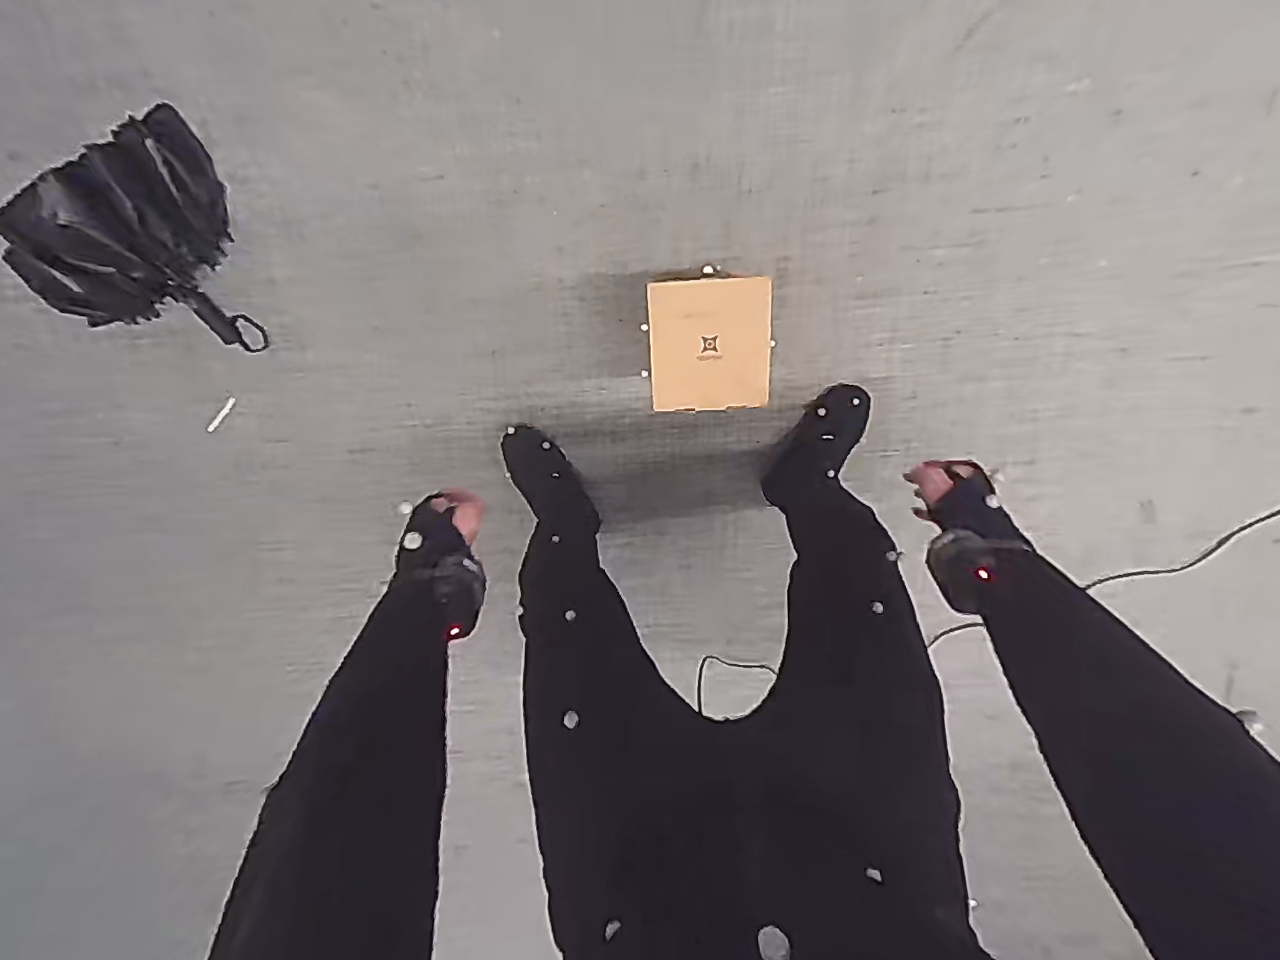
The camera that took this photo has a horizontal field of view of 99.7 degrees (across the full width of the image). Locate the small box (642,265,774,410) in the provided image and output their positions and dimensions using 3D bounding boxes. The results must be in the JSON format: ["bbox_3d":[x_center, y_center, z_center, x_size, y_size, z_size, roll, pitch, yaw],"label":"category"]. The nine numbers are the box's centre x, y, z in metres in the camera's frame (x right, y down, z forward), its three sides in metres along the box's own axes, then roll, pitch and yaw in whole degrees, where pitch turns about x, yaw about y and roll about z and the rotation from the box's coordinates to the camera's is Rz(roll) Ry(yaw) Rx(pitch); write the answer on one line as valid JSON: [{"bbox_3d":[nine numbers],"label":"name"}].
[{"bbox_3d":[0.090,-0.209,0.775,0.168,0.176,0.179,-4,111,2],"label":"small box"}]
